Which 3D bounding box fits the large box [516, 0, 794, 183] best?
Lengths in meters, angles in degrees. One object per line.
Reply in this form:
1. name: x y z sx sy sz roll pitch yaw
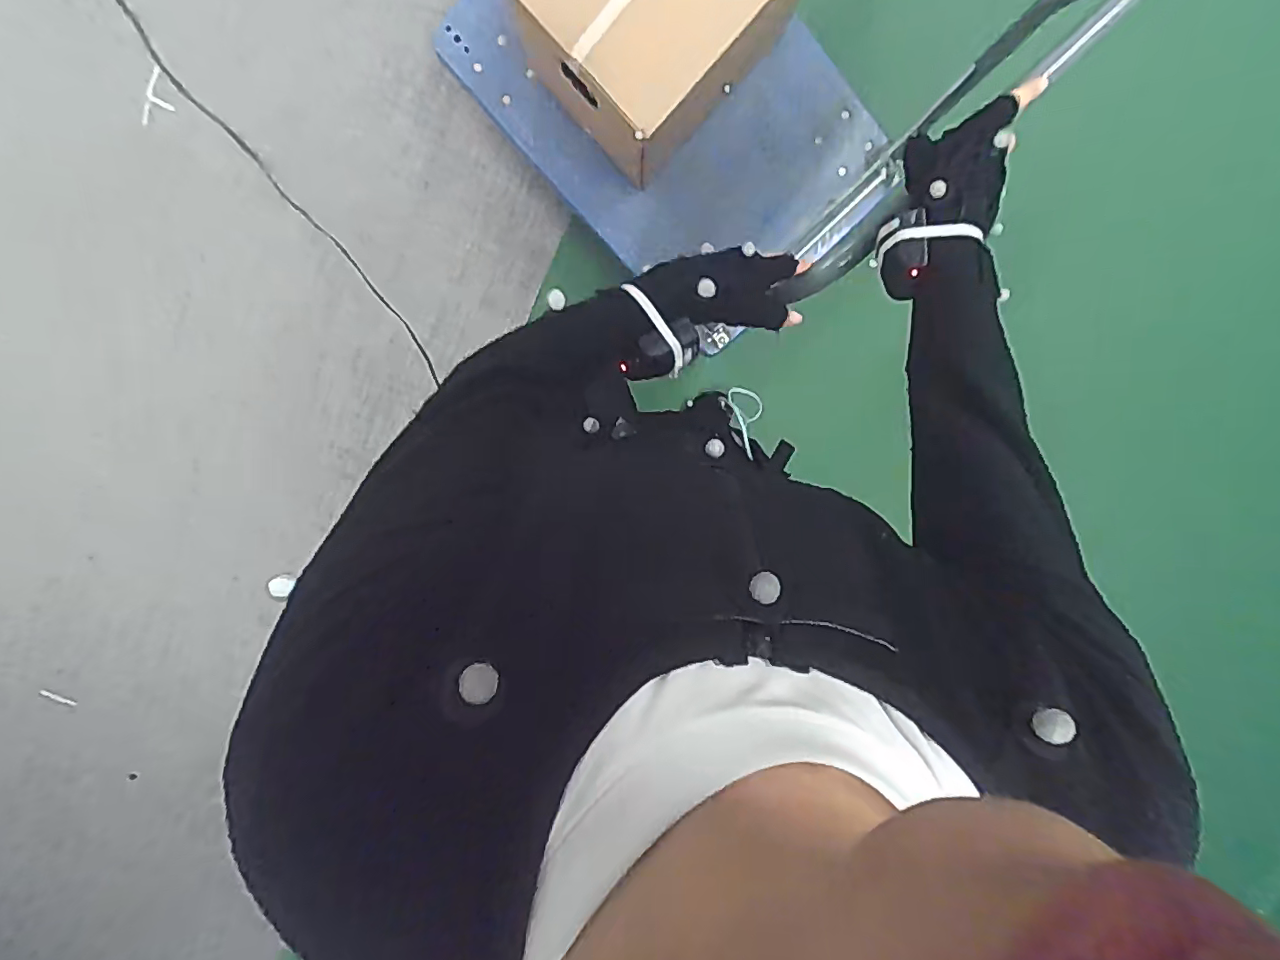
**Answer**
1. large box: 0.045 -0.829 0.948 0.320 0.320 0.408 43 101 -10
